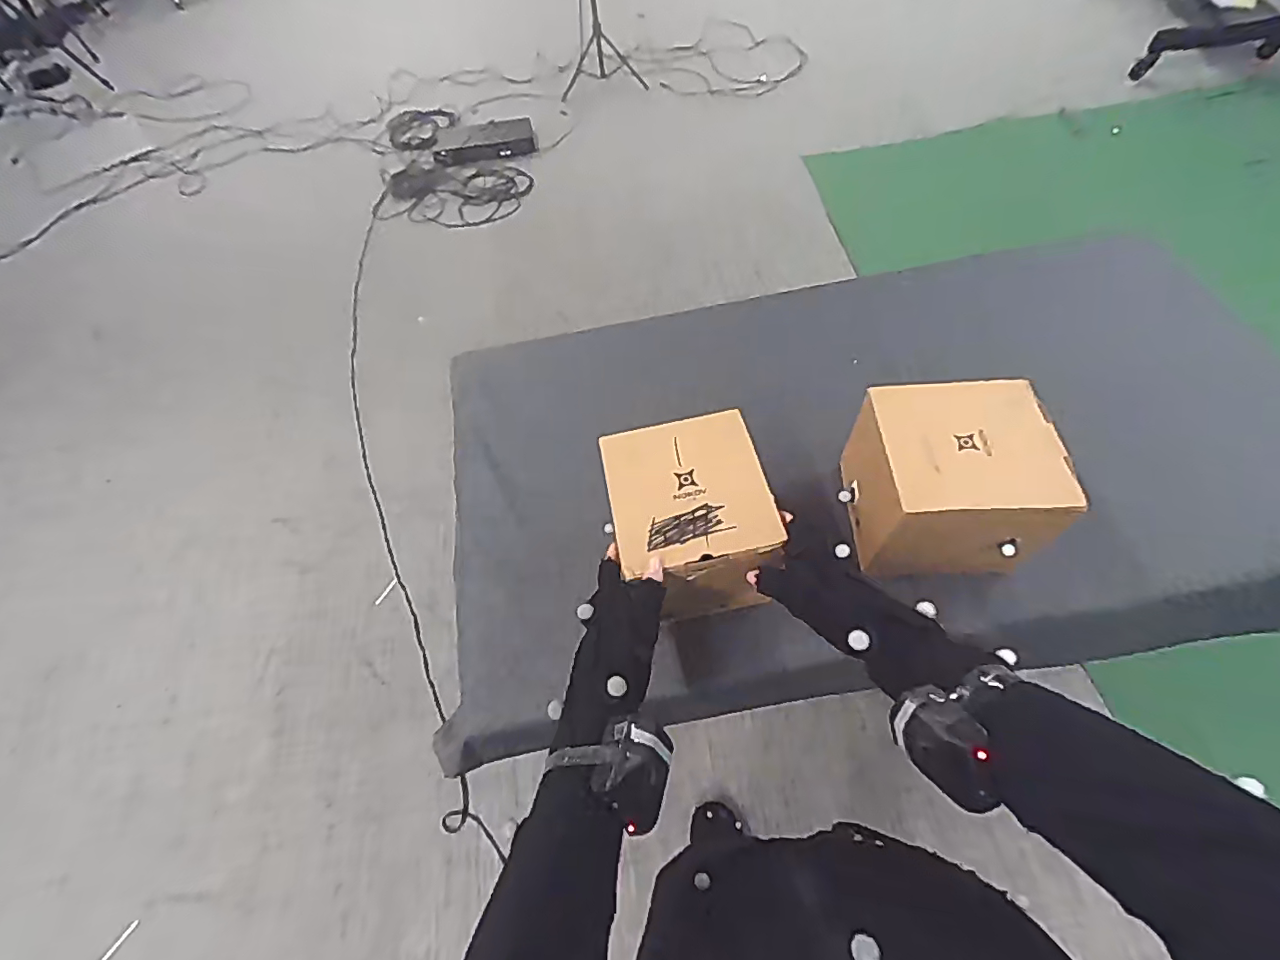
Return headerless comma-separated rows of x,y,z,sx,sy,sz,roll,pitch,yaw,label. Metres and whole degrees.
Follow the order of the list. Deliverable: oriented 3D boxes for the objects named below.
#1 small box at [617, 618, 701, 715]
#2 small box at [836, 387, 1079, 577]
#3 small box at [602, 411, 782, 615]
0.048,0.442,1.263,0.168,0.176,0.179,-11,60,-1,small box
0.352,0.009,0.642,0.179,0.176,0.168,-2,58,5,small box
0.057,0.049,0.642,0.168,0.176,0.179,-11,58,-1,small box
